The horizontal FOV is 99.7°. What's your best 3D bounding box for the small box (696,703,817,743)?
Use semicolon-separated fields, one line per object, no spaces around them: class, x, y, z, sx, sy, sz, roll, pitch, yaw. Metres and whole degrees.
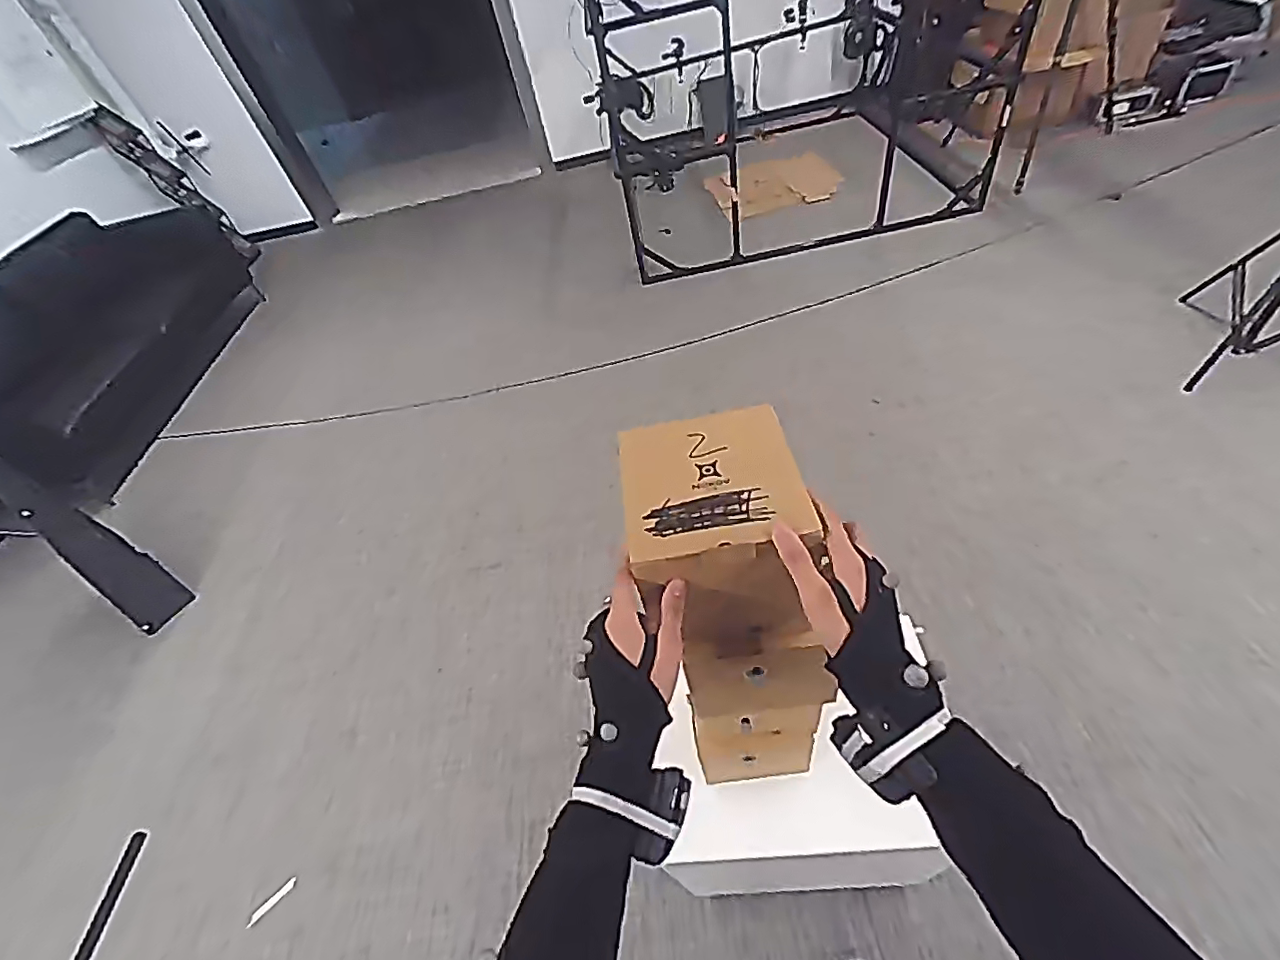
small box;0.162;0.275;0.804;0.168;0.176;0.179;-9;46;5

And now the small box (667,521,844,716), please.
small box;0.137;0.177;0.673;0.179;0.176;0.168;-9;46;5

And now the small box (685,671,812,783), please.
small box;0.179;0.395;0.913;0.179;0.176;0.168;-10;47;4
